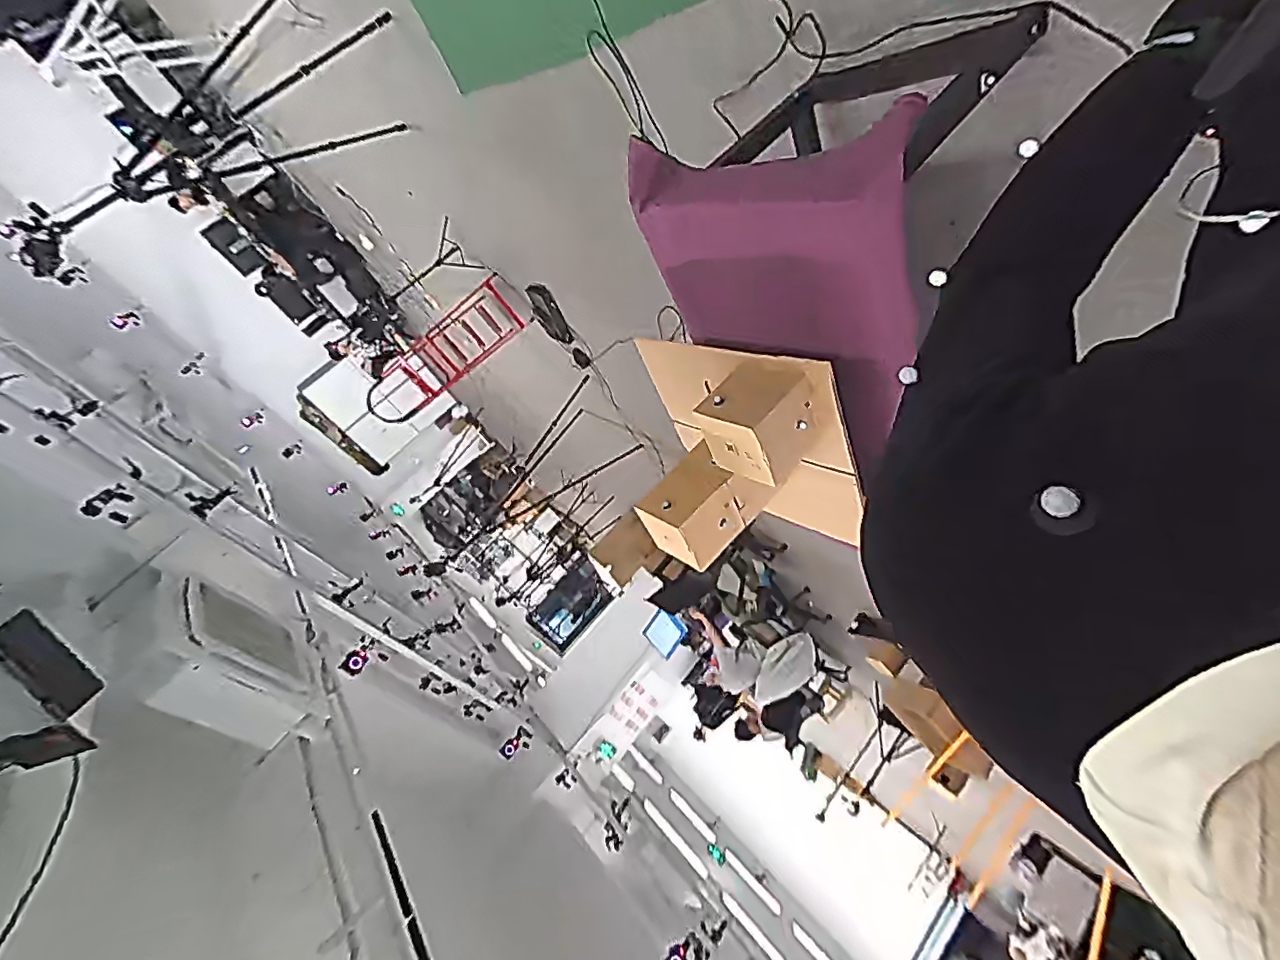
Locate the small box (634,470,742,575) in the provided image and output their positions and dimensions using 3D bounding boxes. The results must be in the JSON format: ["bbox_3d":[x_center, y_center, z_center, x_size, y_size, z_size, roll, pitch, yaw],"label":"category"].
[{"bbox_3d":[0.121,0.096,1.341,0.179,0.176,0.168,23,150,49],"label":"small box"}]

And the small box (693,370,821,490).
[{"bbox_3d":[0.249,-0.112,1.140,0.179,0.176,0.168,25,153,48],"label":"small box"}]

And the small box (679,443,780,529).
[{"bbox_3d":[0.237,-0.009,1.384,0.179,0.176,0.168,25,152,49],"label":"small box"}]
